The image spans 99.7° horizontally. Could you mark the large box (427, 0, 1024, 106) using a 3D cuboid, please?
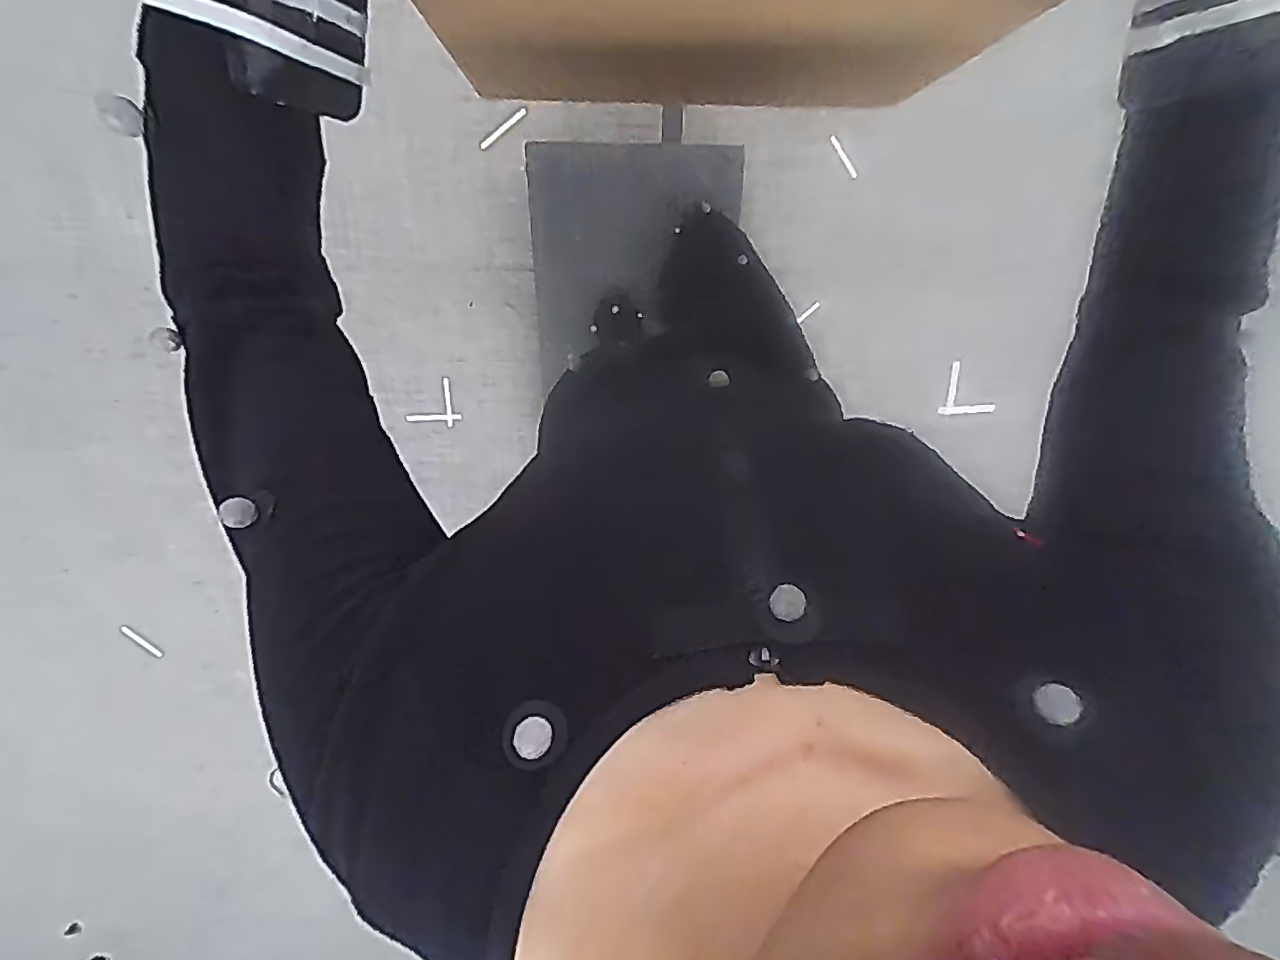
[{"bbox_3d":[0.054,-0.463,0.337,0.408,0.320,0.320,-1,110,-3],"label":"large box"}]

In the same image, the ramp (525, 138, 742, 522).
[{"bbox_3d":[-0.014,-0.318,1.432,0.509,0.206,0.991,-3,109,-4],"label":"ramp"}]
